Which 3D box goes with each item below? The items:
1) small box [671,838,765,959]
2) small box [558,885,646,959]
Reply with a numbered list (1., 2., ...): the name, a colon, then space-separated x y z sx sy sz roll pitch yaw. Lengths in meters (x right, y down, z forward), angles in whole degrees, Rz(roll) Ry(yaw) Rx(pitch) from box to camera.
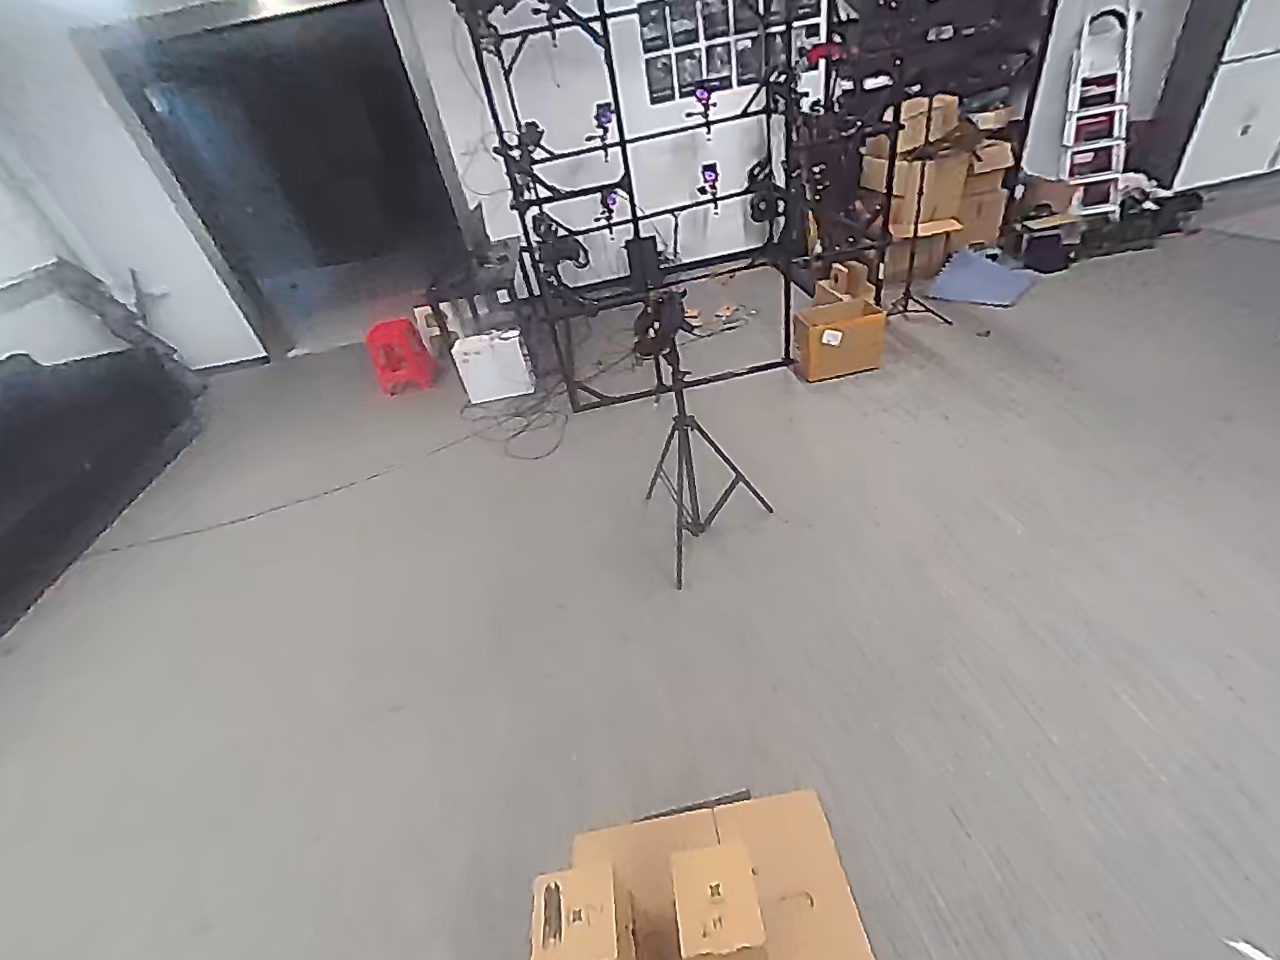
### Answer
1. small box: 0.162 0.894 1.141 0.168 0.176 0.179 -10 37 2
2. small box: -0.084 1.072 1.247 0.179 0.176 0.168 -12 36 1
